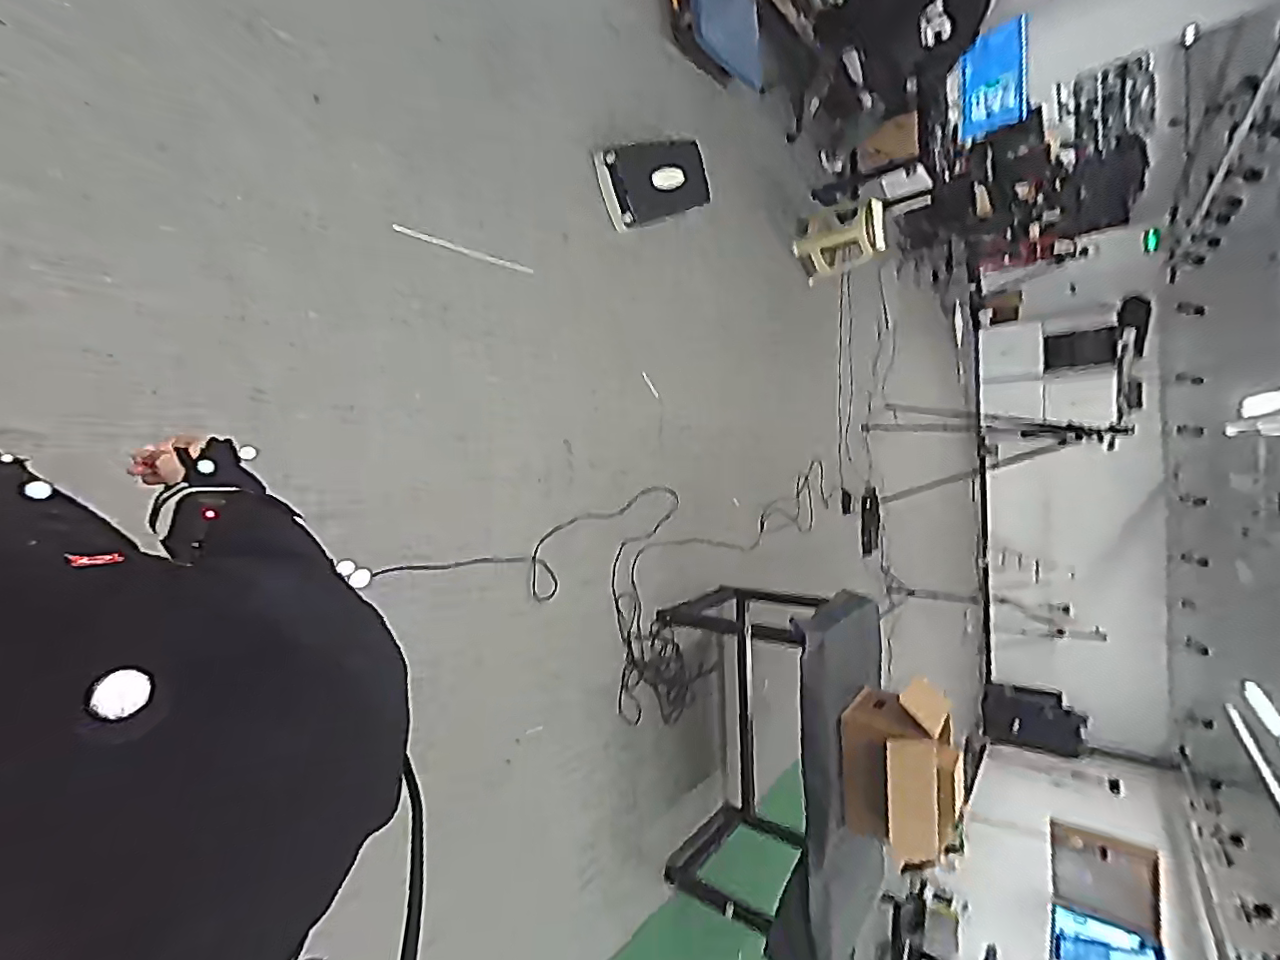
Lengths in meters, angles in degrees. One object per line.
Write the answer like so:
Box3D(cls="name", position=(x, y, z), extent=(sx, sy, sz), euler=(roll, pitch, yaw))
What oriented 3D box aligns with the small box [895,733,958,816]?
Box3D(cls="small box", position=(1.000, 1.020, 1.889), extent=(0.168, 0.176, 0.179), euler=(-5, 93, -51))
